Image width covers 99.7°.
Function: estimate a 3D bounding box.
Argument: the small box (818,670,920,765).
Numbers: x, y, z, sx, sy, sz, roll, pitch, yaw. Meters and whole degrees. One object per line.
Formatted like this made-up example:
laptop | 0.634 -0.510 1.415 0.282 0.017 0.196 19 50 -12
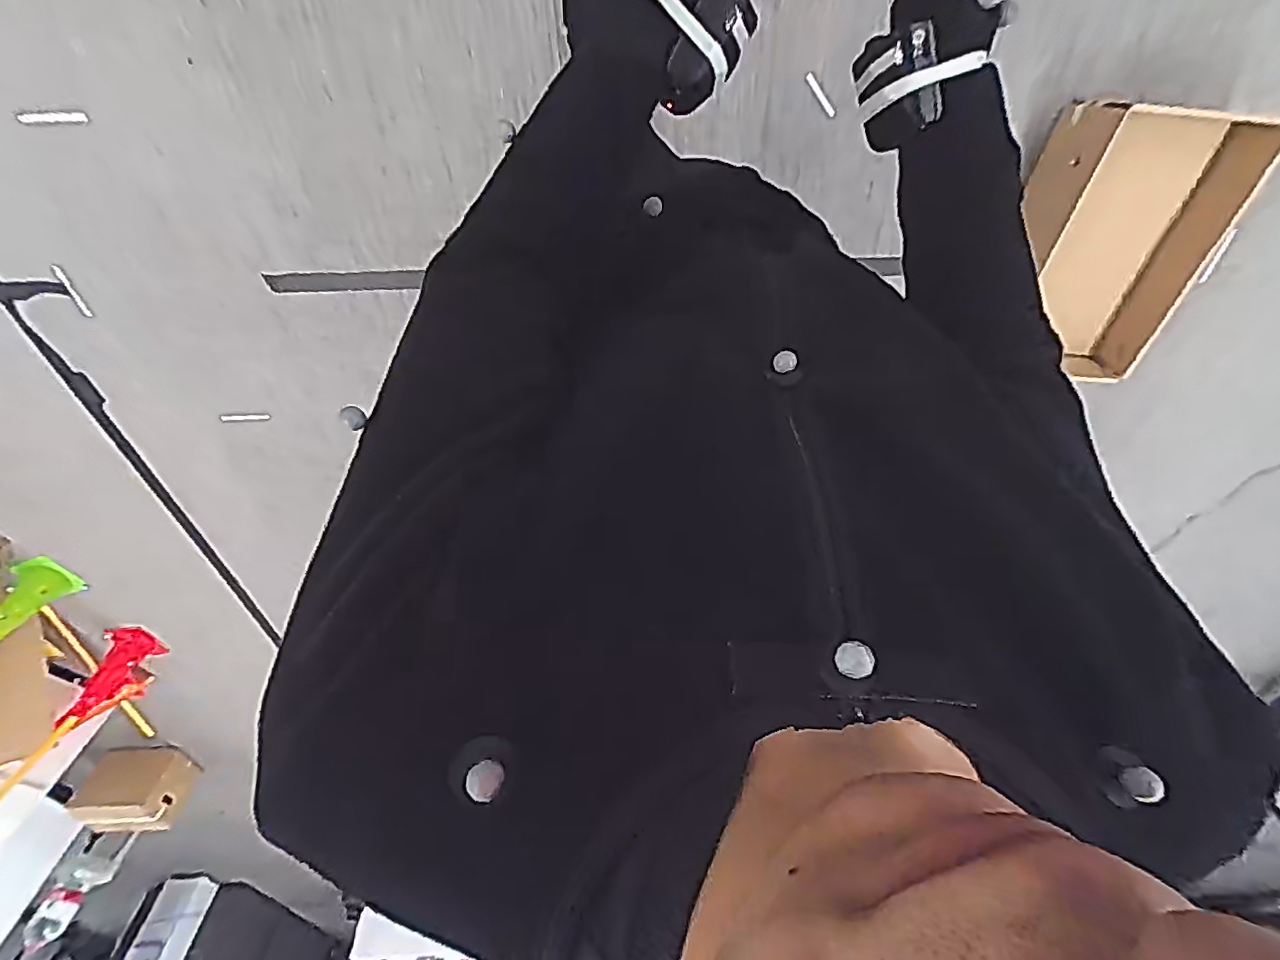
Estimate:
small box | 0.568 0.600 1.372 0.168 0.176 0.179 1 129 -2
